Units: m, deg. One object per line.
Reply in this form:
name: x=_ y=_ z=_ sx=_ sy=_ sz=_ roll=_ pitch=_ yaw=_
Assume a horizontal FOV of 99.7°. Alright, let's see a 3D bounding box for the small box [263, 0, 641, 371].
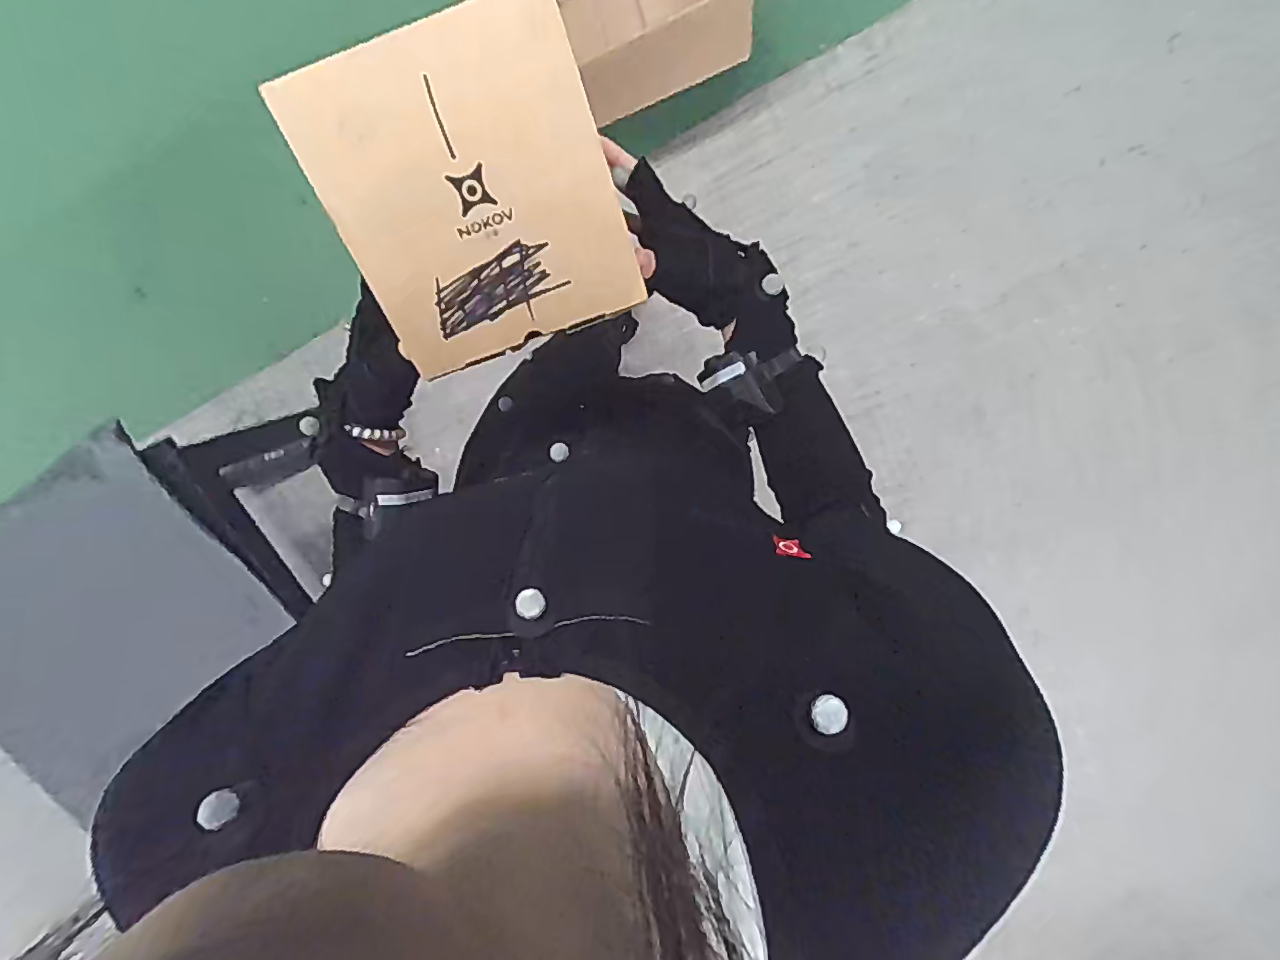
small box: x=-0.106 y=-0.206 z=0.391 sx=0.168 sy=0.176 sz=0.179 roll=-18 pitch=119 yaw=3
